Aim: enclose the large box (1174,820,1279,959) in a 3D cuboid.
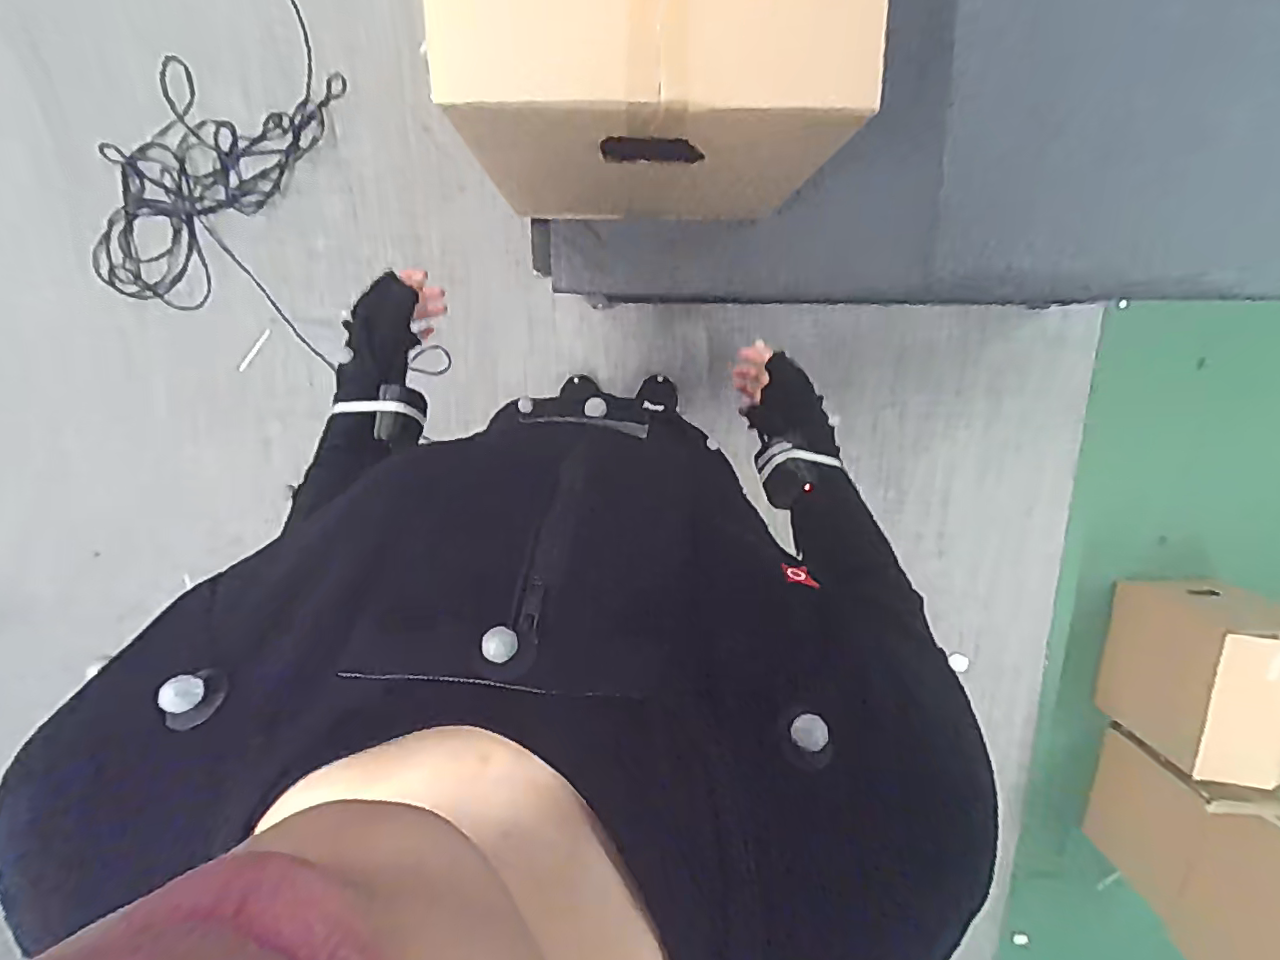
[{"bbox_3d":[1.579,1.081,1.259,0.320,0.320,0.408,2,104,1],"label":"large box"}]
